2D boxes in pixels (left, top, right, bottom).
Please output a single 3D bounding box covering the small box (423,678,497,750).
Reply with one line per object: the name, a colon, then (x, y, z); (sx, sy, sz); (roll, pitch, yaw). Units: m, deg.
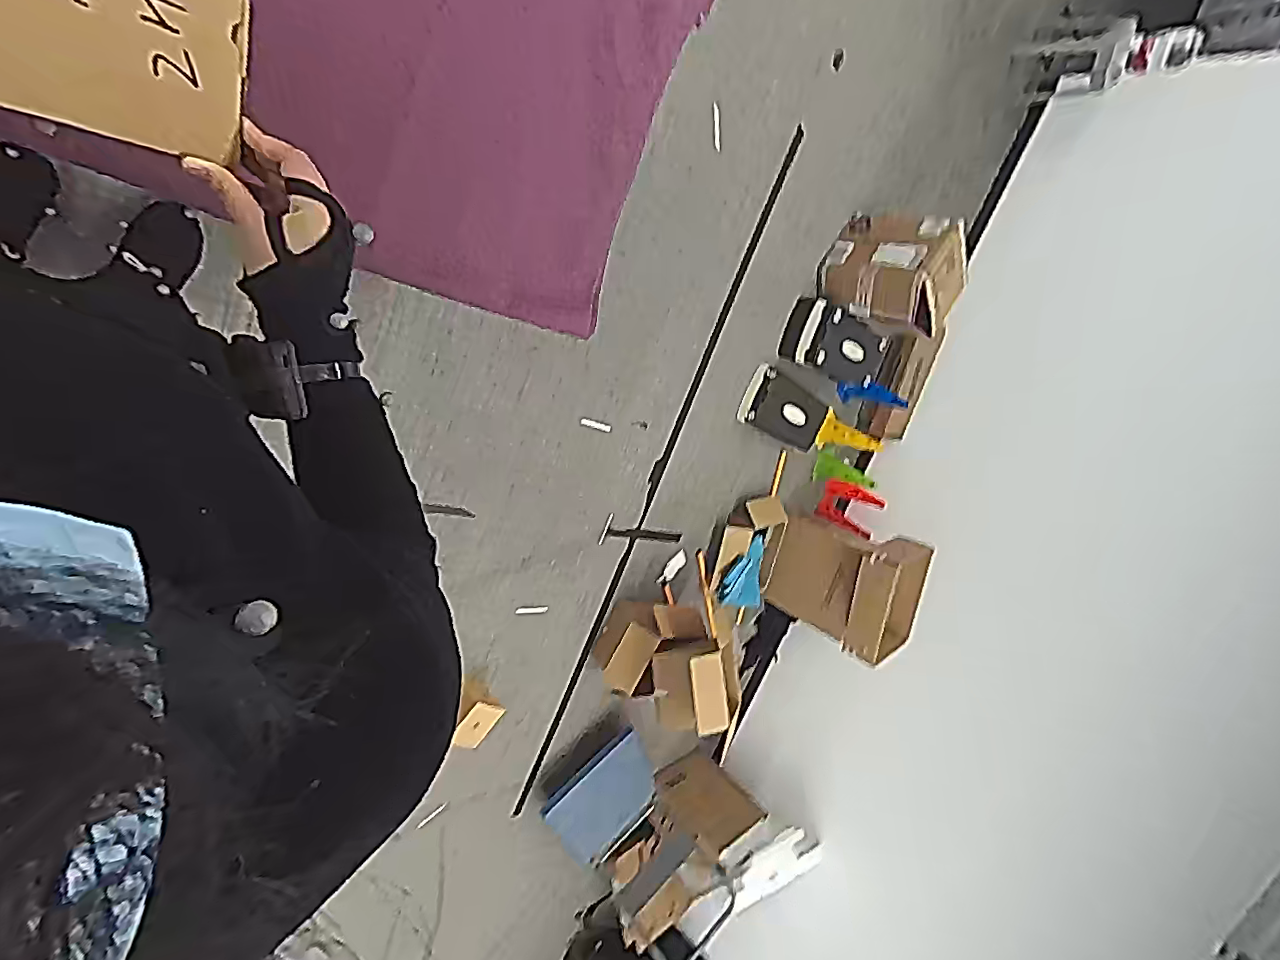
small box: (-0.683, 0.878, 2.036); (0.179, 0.176, 0.168); (-51, 140, -9)
